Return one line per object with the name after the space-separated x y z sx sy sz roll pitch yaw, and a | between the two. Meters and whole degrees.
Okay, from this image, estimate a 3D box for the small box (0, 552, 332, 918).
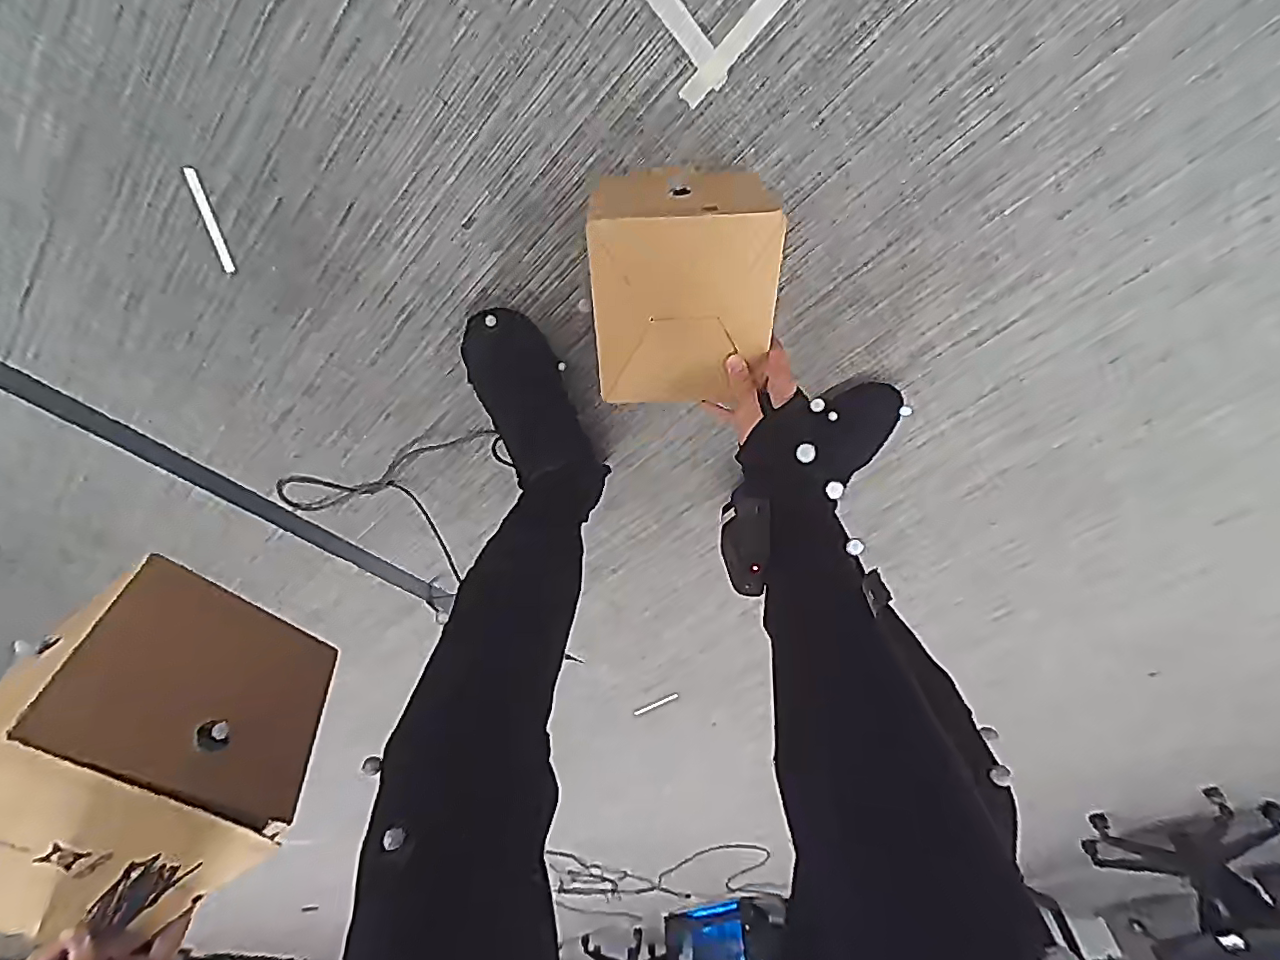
-0.381 0.189 0.420 0.168 0.176 0.179 -36 123 7 | small box

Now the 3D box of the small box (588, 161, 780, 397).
0.038 -0.207 0.553 0.168 0.176 0.179 -2 131 1 | small box
